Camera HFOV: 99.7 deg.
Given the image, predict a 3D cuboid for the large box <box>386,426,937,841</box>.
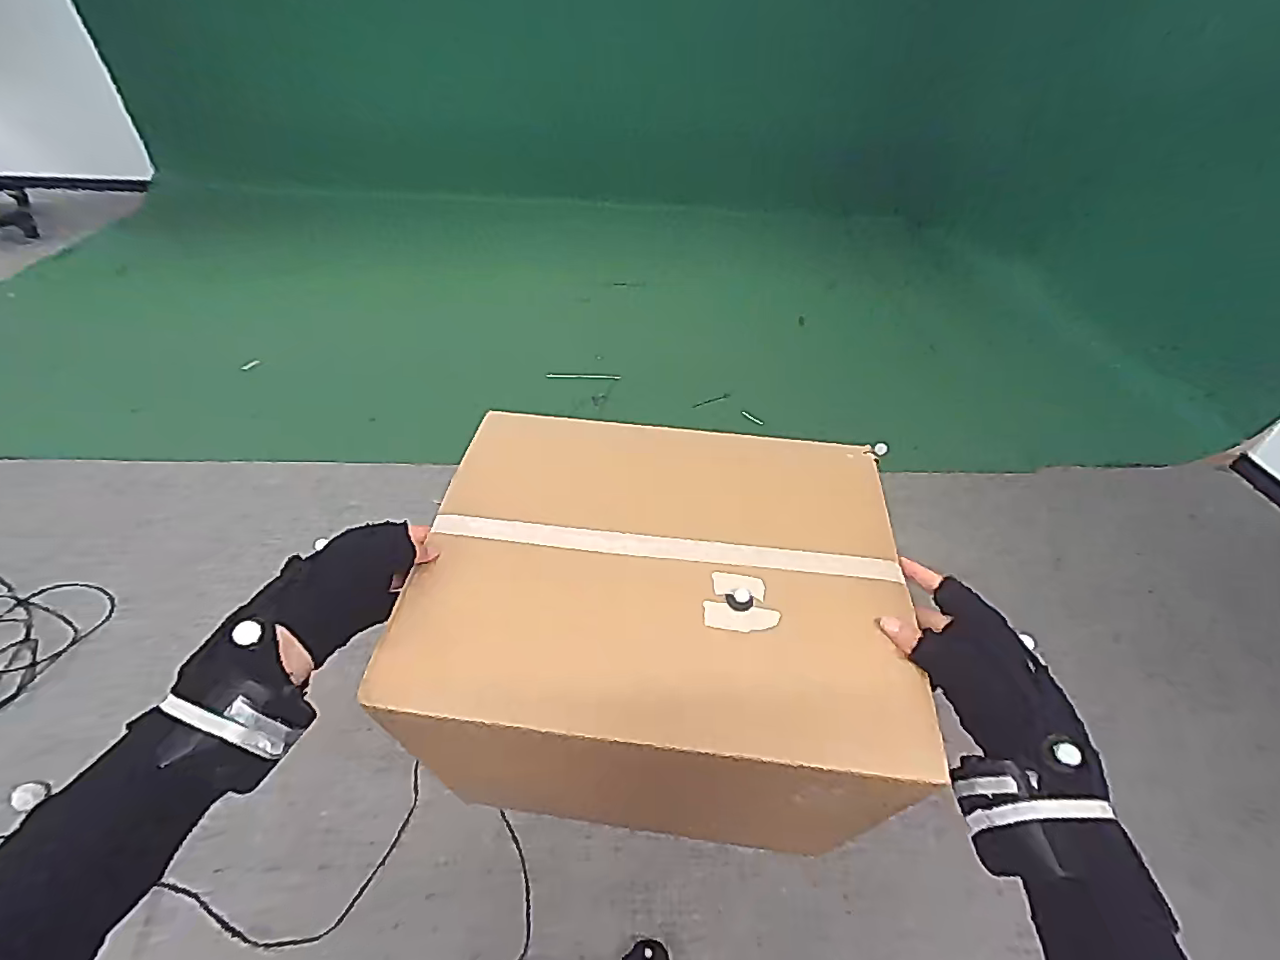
[{"bbox_3d":[0.022,0.167,0.590,0.408,0.320,0.320,5,49,4],"label":"large box"}]
